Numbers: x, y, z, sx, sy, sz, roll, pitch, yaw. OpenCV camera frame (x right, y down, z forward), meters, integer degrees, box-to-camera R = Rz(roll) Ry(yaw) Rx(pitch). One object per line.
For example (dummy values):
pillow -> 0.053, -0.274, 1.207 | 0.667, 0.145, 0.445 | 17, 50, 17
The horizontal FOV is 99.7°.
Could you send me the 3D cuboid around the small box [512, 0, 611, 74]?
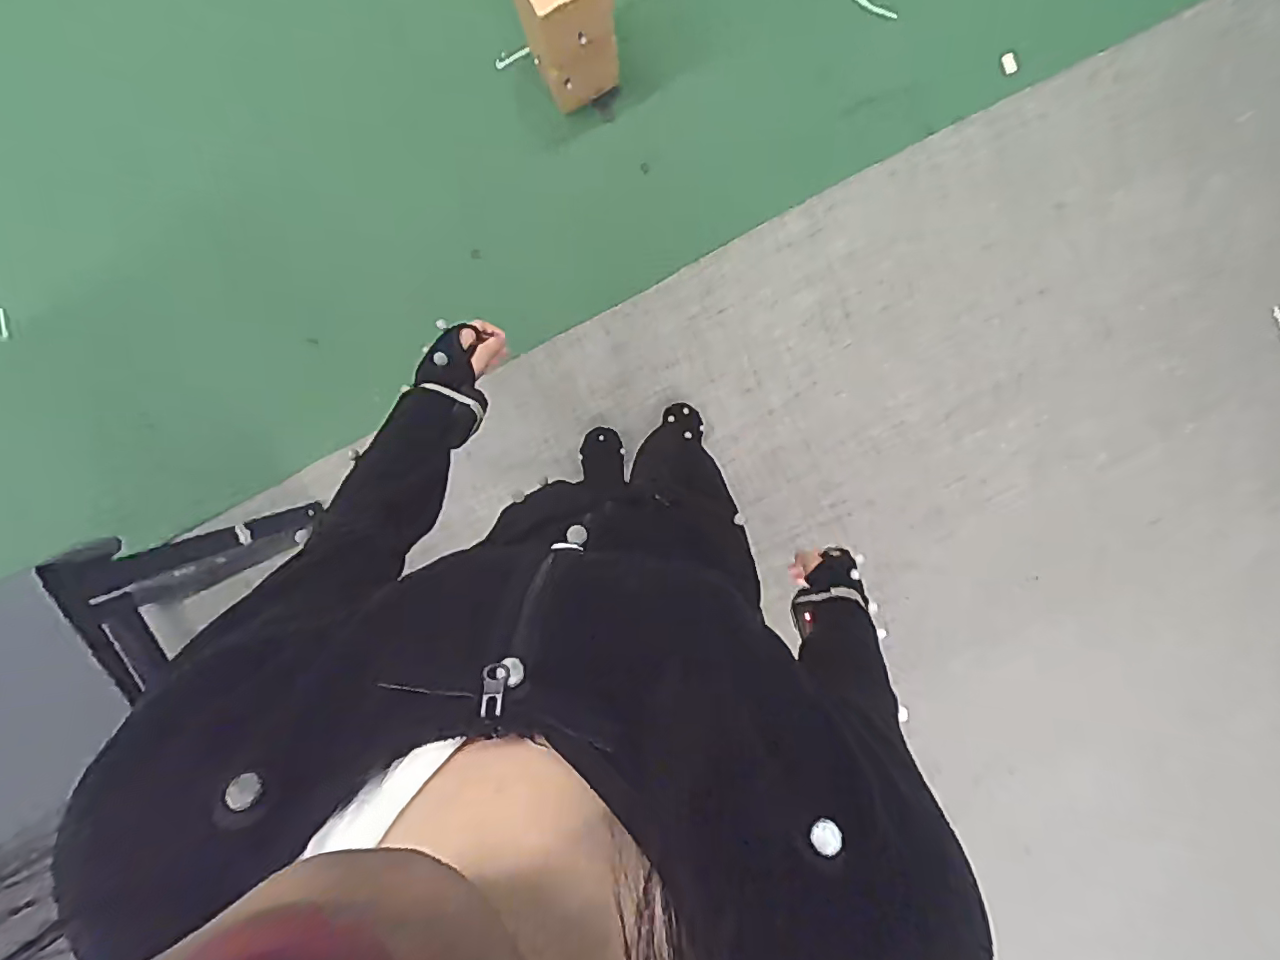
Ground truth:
small box -> -0.172, -1.015, 1.131 | 0.168, 0.176, 0.179 | -30, 95, 3
